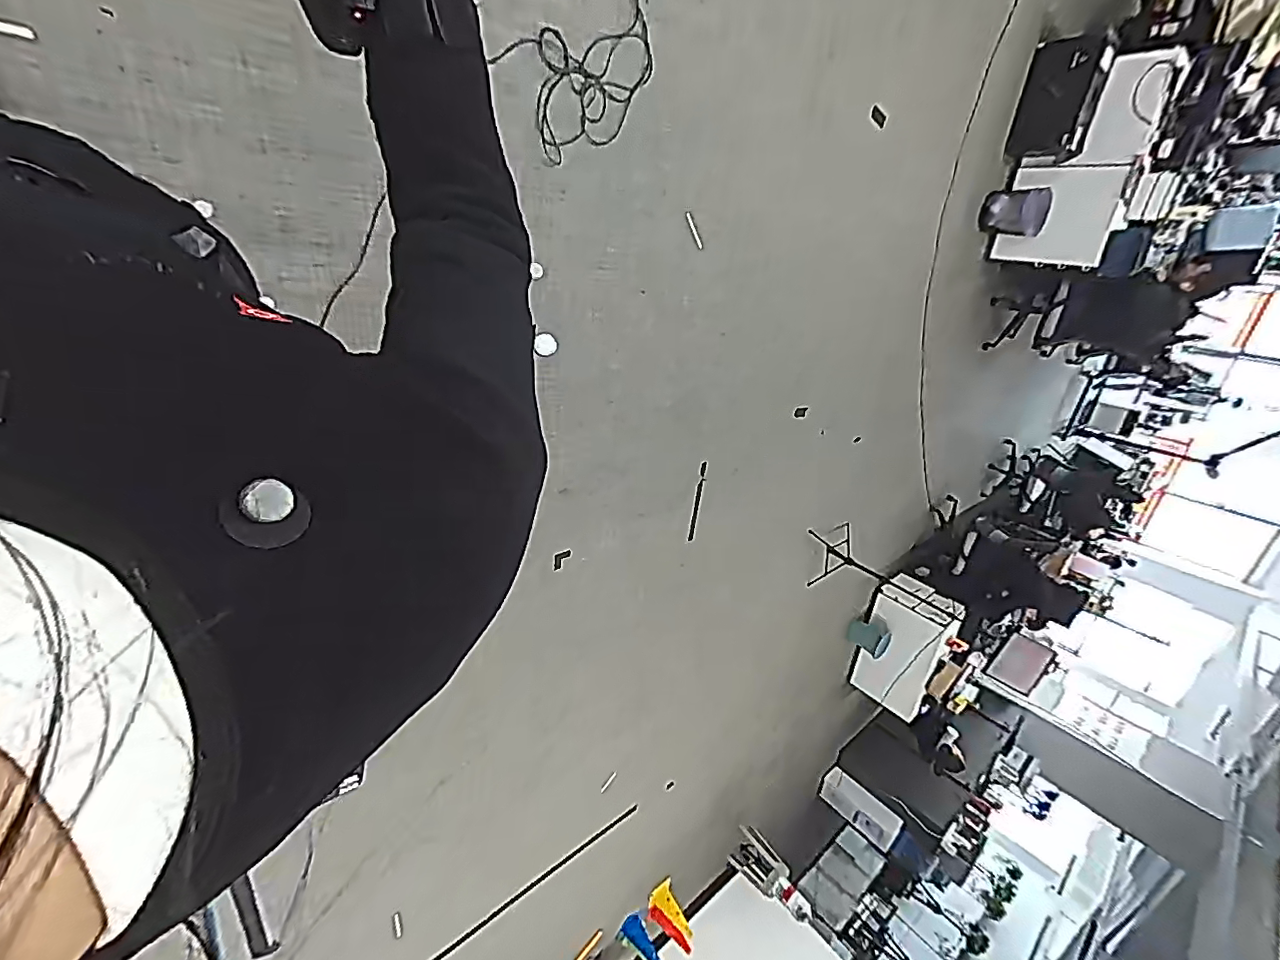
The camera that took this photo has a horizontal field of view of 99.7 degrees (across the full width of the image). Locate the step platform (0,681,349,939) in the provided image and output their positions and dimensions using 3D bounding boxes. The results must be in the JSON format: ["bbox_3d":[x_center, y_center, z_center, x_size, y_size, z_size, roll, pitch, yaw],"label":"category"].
[{"bbox_3d":[-1.135,0.806,1.387,0.684,0.204,0.286,-14,121,-36],"label":"step platform"}]
